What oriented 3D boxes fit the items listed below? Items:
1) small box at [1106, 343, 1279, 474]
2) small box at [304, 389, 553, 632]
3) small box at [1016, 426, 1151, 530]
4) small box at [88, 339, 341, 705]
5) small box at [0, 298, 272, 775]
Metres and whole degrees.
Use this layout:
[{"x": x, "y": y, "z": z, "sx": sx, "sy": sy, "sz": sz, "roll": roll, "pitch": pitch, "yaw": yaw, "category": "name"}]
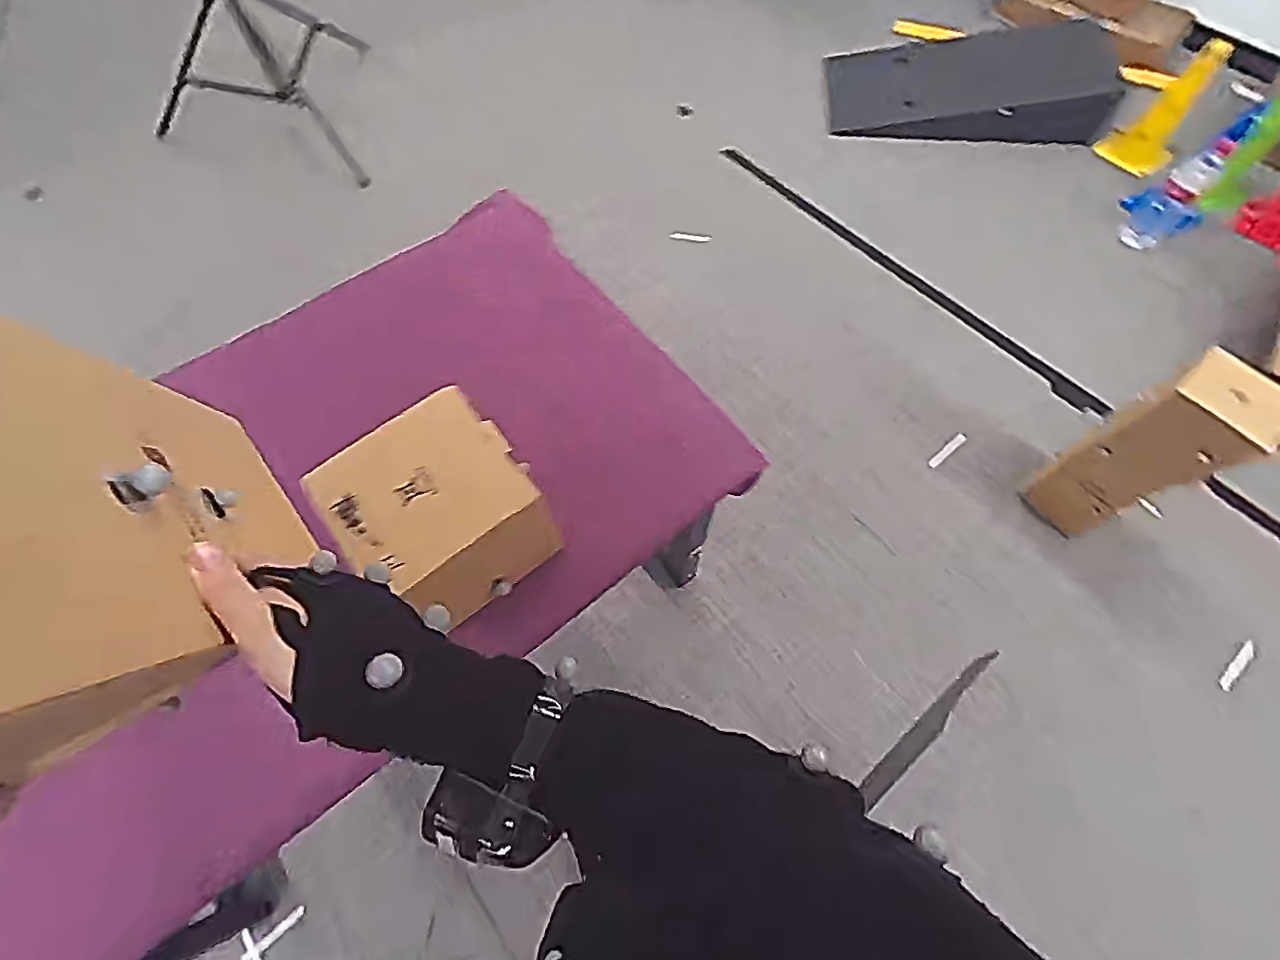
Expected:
[{"x": 1.123, "y": -0.133, "z": 1.097, "sx": 0.168, "sy": 0.176, "sz": 0.179, "roll": -39, "pitch": 71, "yaw": -17, "category": "small box"}, {"x": -0.210, "y": 0.041, "z": 0.591, "sx": 0.179, "sy": 0.176, "sz": 0.168, "roll": -37, "pitch": 71, "yaw": -15, "category": "small box"}, {"x": 1.130, "y": 0.000, "z": 1.396, "sx": 0.168, "sy": 0.176, "sz": 0.179, "roll": -38, "pitch": 71, "yaw": -15, "category": "small box"}, {"x": -0.332, "y": 0.045, "z": 0.348, "sx": 0.168, "sy": 0.176, "sz": 0.179, "roll": -32, "pitch": 89, "yaw": -14, "category": "small box"}, {"x": -0.284, "y": 0.037, "z": 0.190, "sx": 0.179, "sy": 0.176, "sz": 0.168, "roll": -29, "pitch": 91, "yaw": -13, "category": "small box"}]
